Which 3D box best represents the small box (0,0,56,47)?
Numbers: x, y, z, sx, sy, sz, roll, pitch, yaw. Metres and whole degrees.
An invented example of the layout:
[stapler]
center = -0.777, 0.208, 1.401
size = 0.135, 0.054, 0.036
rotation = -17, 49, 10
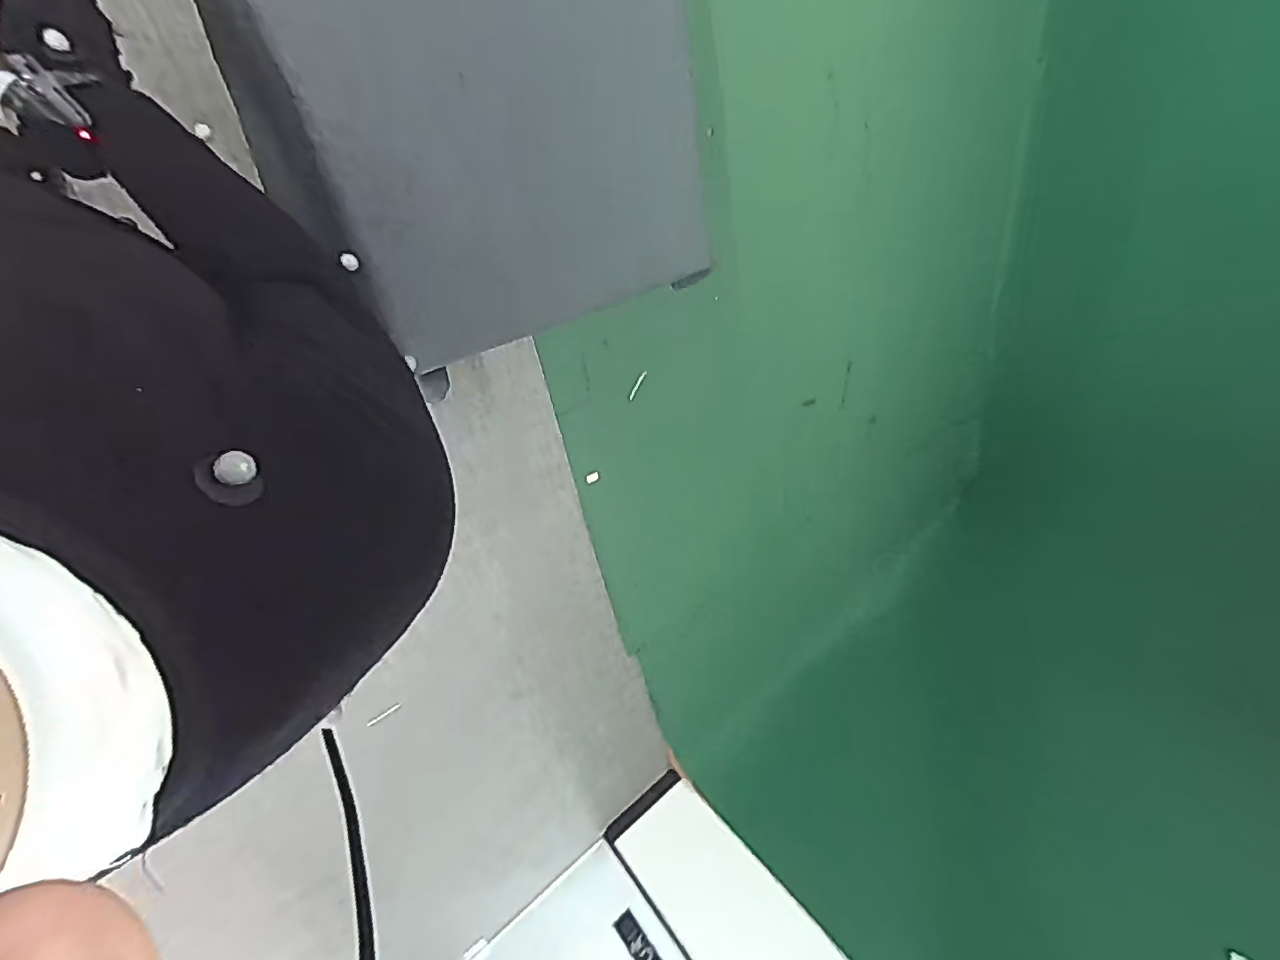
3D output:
[small box]
center = -0.585, -0.465, 0.391
size = 0.168, 0.176, 0.179
rotation = -11, 110, -31
